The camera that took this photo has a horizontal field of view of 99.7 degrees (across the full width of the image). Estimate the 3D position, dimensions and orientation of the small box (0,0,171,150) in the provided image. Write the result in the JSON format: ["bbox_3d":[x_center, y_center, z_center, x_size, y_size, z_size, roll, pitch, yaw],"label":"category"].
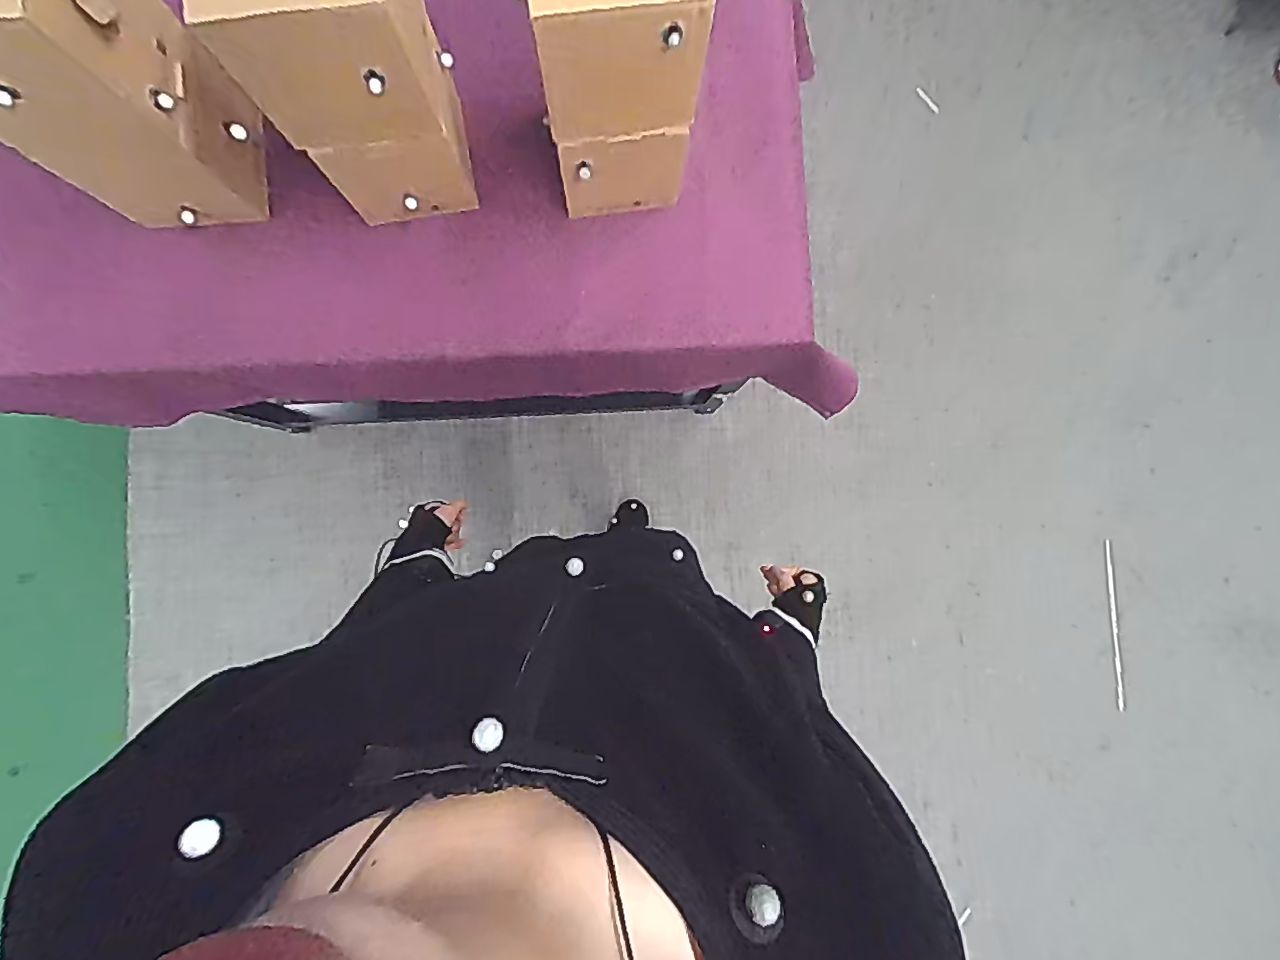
[{"bbox_3d":[-0.623,-0.467,0.549,0.179,0.176,0.168,-5,88,-2],"label":"small box"}]

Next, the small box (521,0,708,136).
[{"bbox_3d":[-0.034,-0.505,0.582,0.179,0.176,0.168,-9,88,-3],"label":"small box"}]

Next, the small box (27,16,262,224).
[{"bbox_3d":[-0.632,-0.460,0.713,0.179,0.176,0.168,-5,87,-3],"label":"small box"}]

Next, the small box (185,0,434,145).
[{"bbox_3d":[-0.329,-0.487,0.566,0.179,0.176,0.168,-8,87,-3],"label":"small box"}]

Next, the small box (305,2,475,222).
[{"bbox_3d":[-0.335,-0.483,0.729,0.168,0.176,0.179,-10,88,-3],"label":"small box"}]
